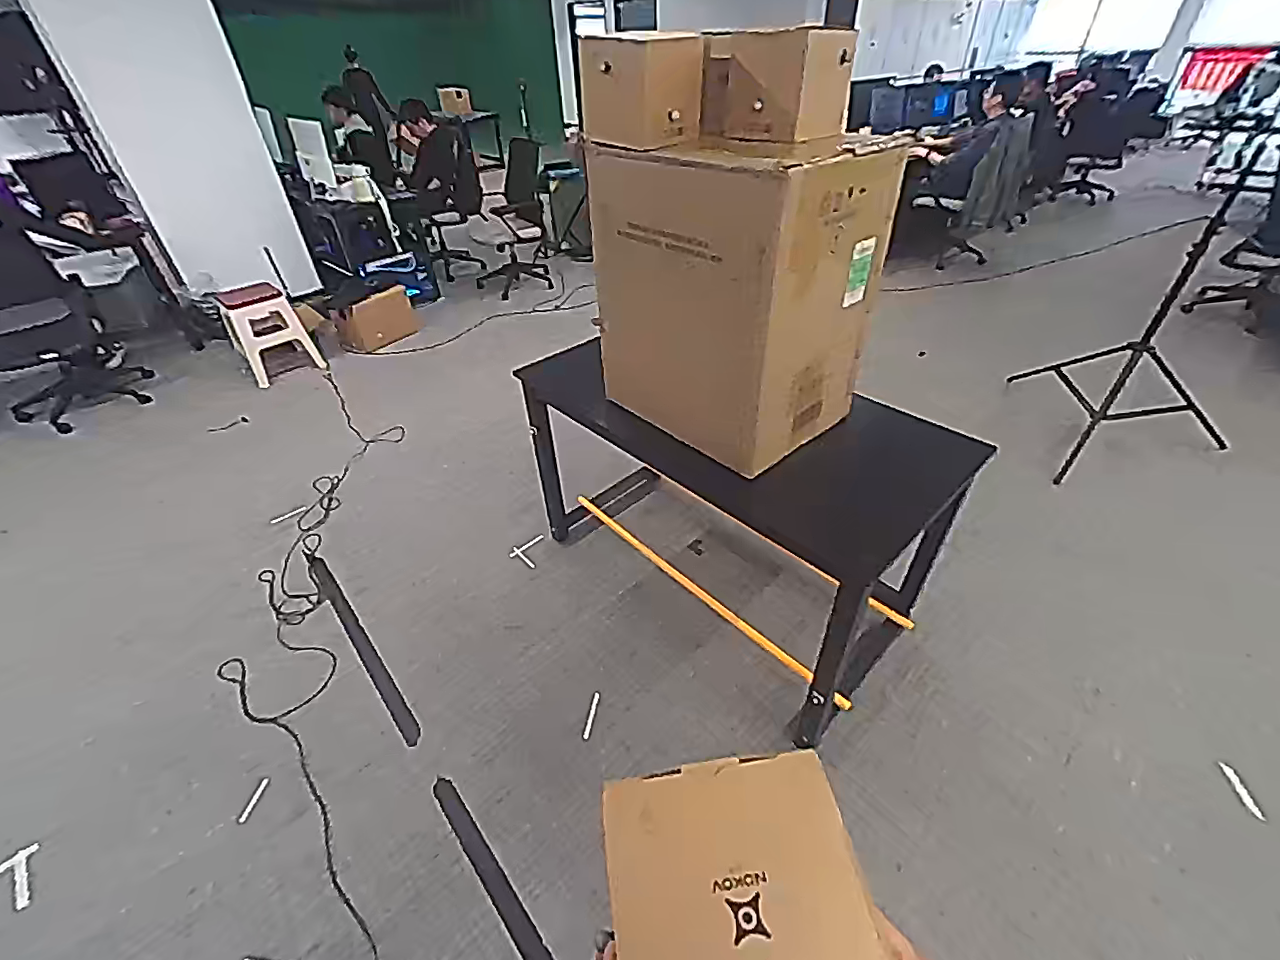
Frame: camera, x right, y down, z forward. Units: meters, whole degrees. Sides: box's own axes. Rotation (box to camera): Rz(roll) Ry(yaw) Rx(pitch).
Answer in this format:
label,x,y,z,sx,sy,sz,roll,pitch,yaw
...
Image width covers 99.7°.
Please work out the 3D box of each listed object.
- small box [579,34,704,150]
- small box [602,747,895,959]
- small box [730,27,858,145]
label,x,y,z,sx,sy,sz,roll,pitch,yaw
small box,0.002,-0.756,1.054,0.179,0.176,0.168,33,52,32
small box,0.062,0.324,0.387,0.168,0.176,0.179,-6,43,-7
small box,0.287,-0.757,1.040,0.179,0.176,0.168,-32,46,-33
